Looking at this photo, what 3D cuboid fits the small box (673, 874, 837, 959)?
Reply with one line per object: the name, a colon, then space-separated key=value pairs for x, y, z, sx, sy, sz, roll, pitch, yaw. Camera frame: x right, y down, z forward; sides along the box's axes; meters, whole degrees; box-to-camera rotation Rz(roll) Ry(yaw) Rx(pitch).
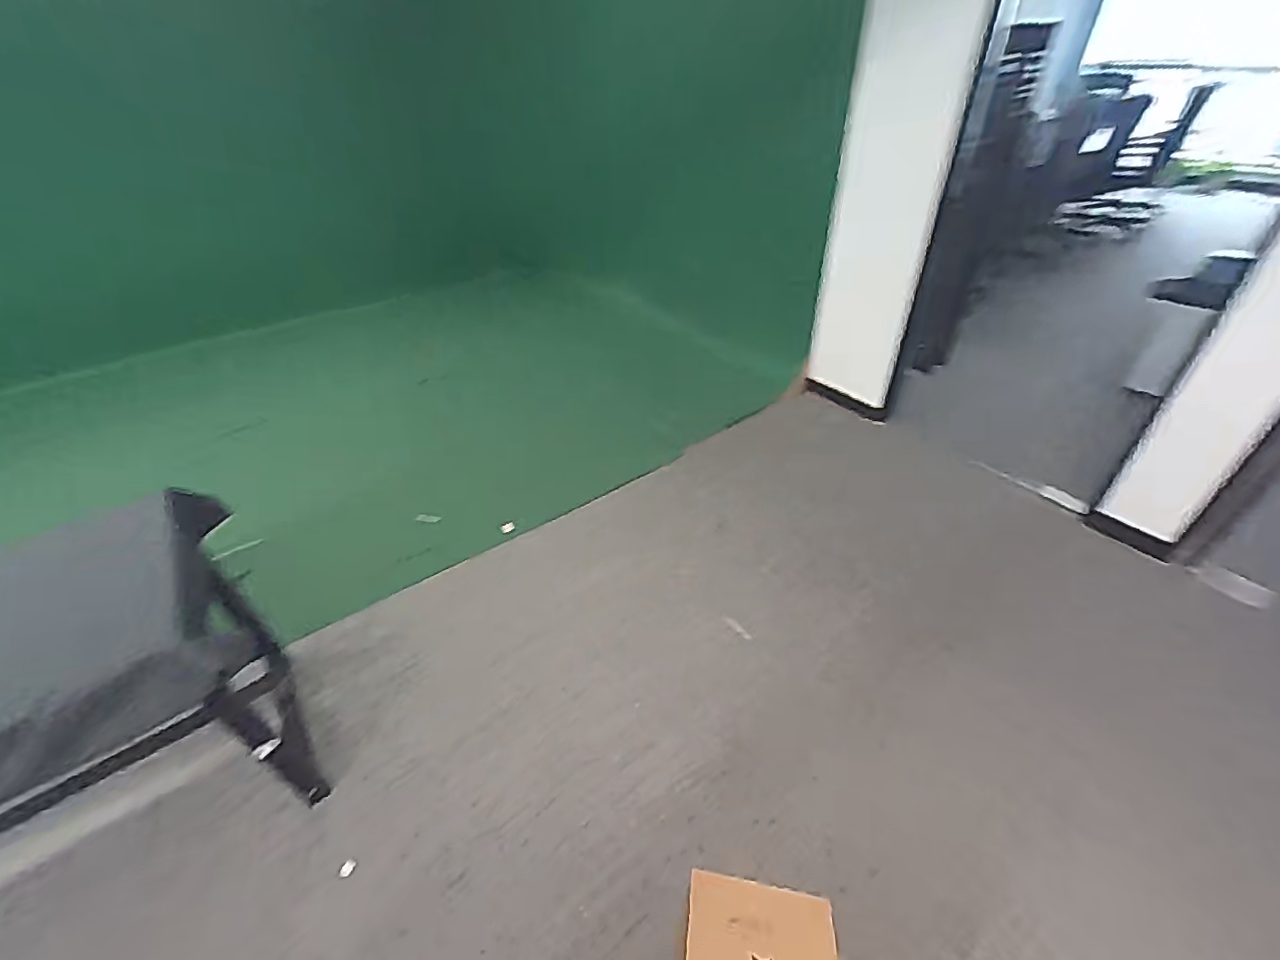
small box: x=0.123 y=0.596 z=0.607 sx=0.168 sy=0.176 sz=0.179 roll=9 pitch=28 yaw=3
